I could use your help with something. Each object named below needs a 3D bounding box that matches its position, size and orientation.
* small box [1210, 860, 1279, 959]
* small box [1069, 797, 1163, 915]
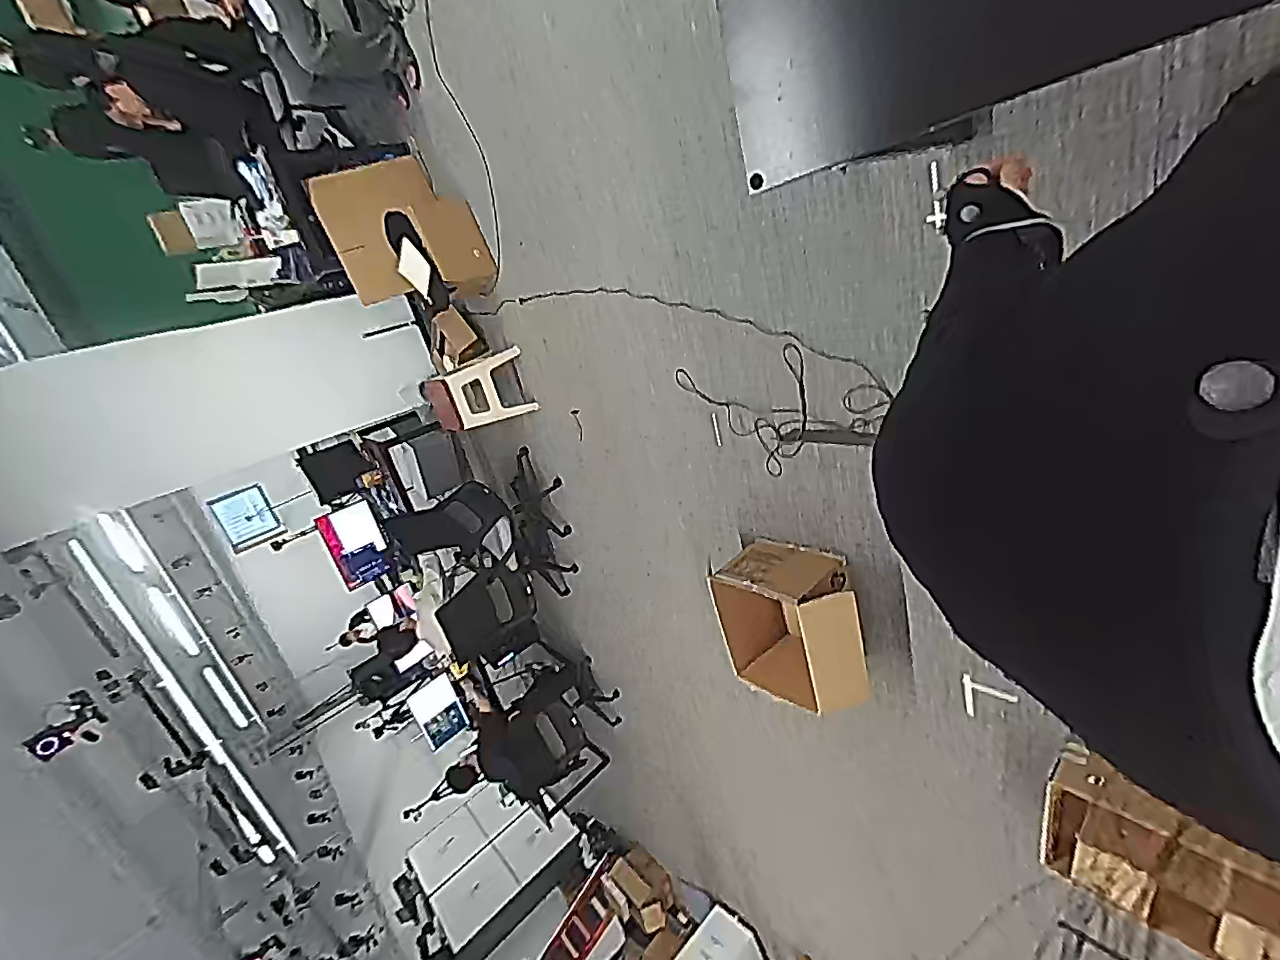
[{"bbox_3d":[1.529,1.080,1.305,0.179,0.176,0.168,13,122,50],"label":"small box"},{"bbox_3d":[1.344,1.051,1.527,0.168,0.176,0.179,15,124,46],"label":"small box"}]
